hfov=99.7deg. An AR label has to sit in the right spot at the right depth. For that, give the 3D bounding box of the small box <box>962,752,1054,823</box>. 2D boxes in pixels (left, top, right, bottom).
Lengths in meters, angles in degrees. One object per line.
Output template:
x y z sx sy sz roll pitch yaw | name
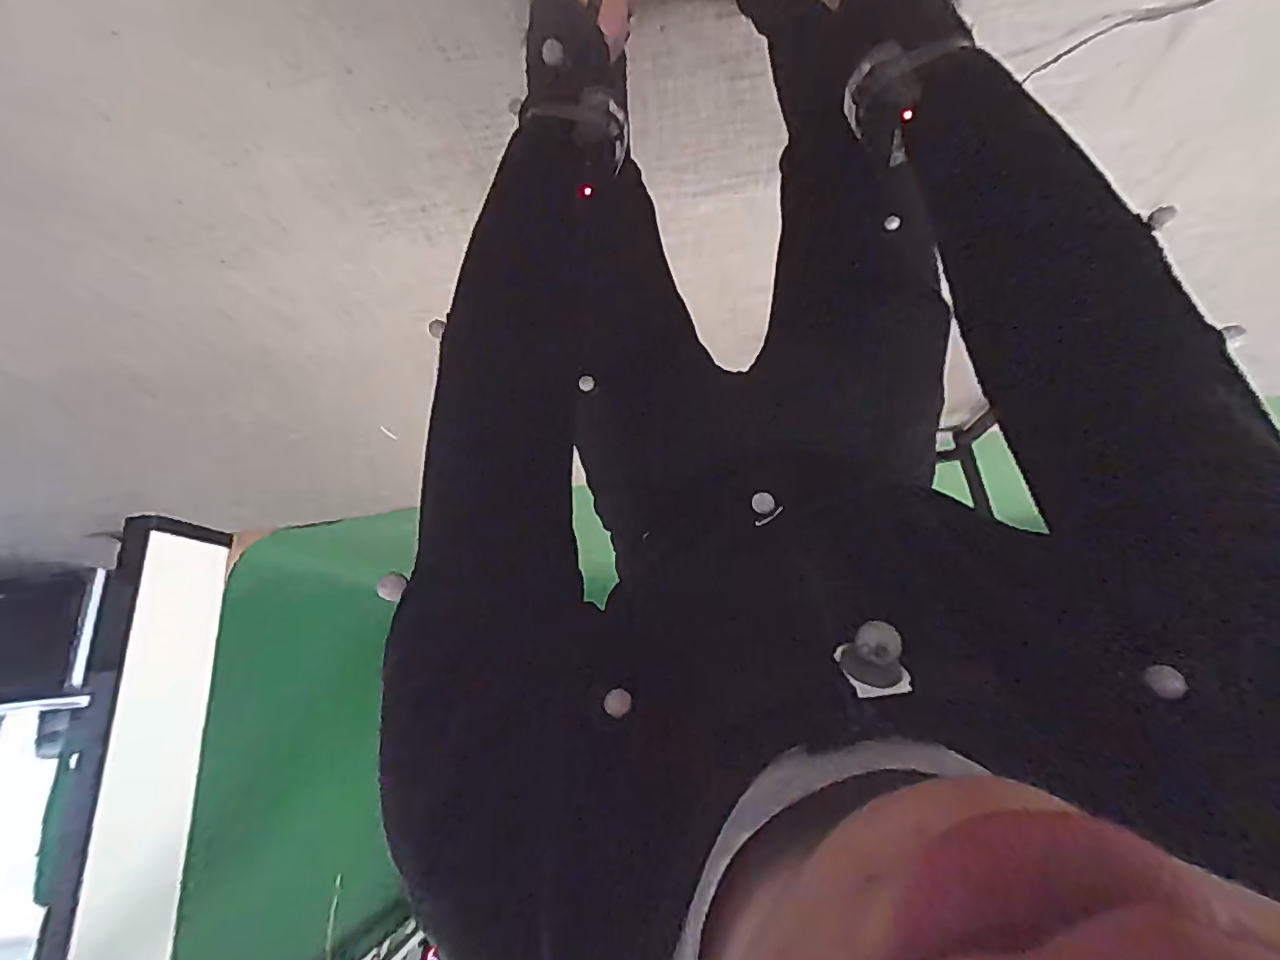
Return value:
1.224 1.022 1.813 0.179 0.176 0.168 -10 160 5 | small box
